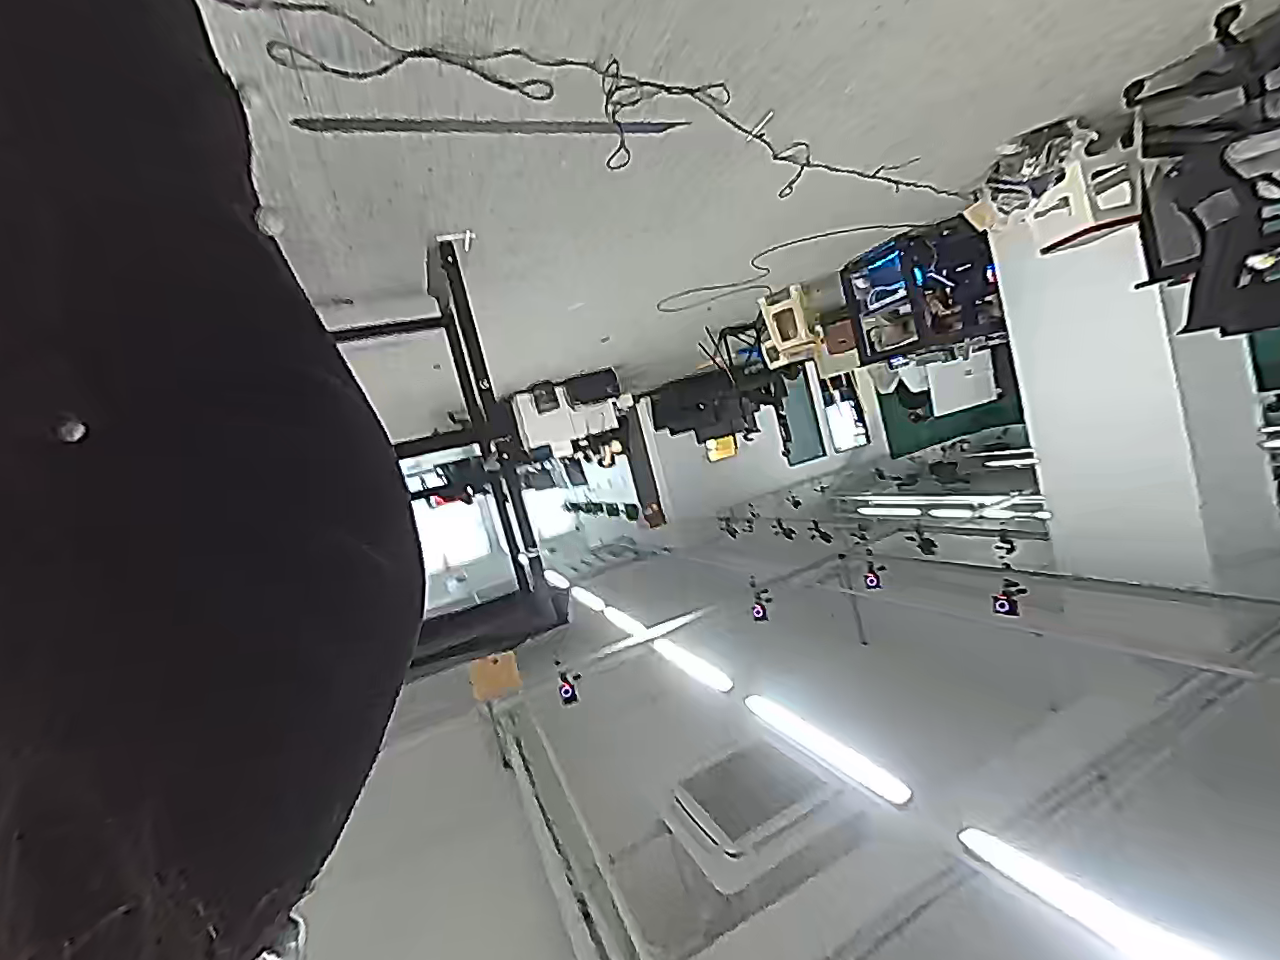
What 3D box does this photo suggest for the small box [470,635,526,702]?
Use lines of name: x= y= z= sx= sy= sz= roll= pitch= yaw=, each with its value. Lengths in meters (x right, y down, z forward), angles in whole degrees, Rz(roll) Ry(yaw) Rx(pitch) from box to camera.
small box: x=-0.546 y=0.708 z=2.062 sx=0.168 sy=0.176 sz=0.179 roll=-15 pitch=-176 yaw=-20
